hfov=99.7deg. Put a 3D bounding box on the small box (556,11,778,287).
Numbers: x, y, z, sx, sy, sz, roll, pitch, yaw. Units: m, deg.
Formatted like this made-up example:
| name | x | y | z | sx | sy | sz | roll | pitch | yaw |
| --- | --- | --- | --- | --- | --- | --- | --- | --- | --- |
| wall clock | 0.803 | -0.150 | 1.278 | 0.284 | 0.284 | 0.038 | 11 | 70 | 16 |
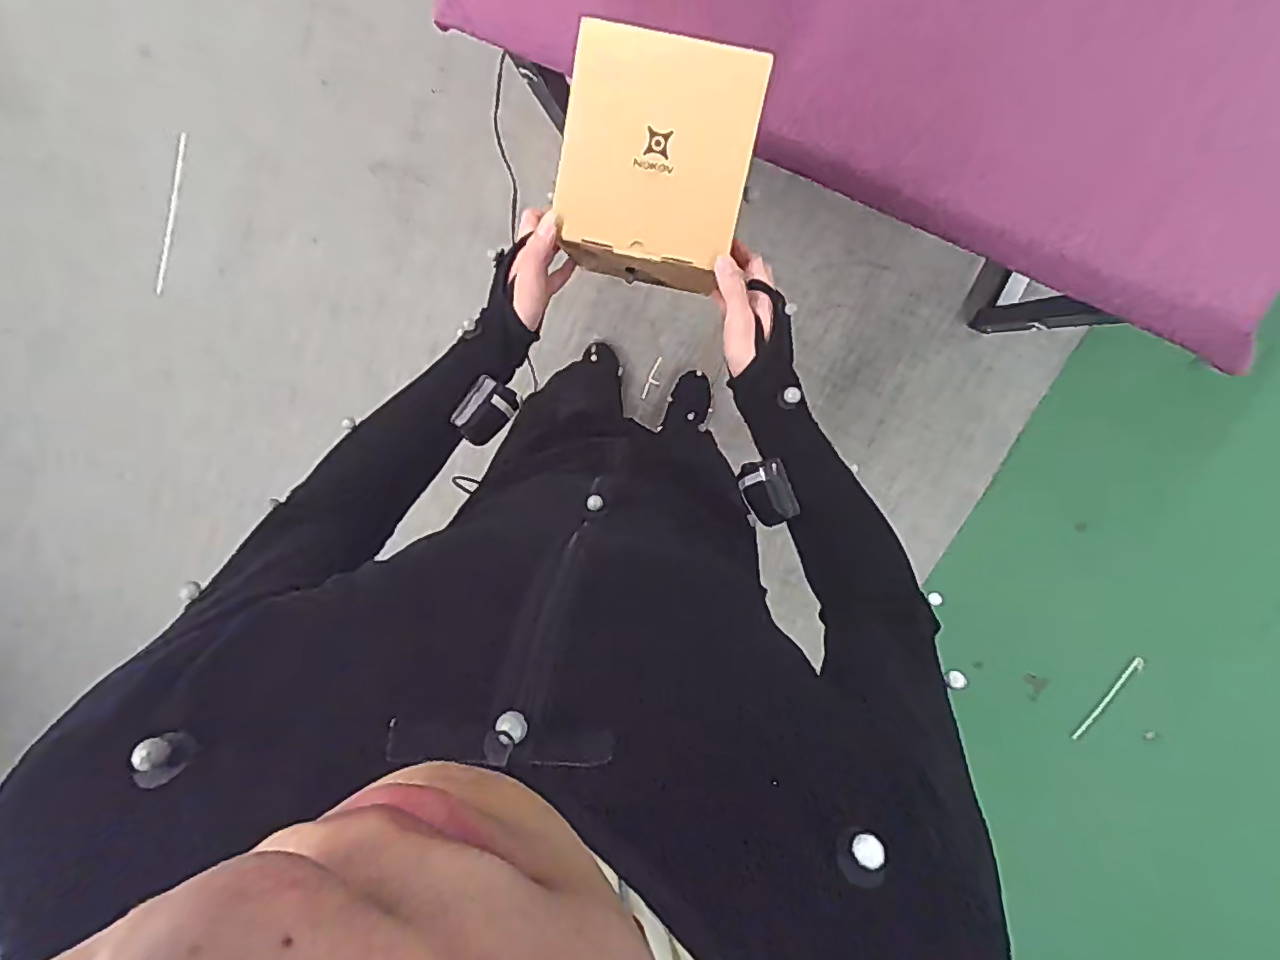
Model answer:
| name | x | y | z | sx | sy | sz | roll | pitch | yaw |
| --- | --- | --- | --- | --- | --- | --- | --- | --- | --- |
| small box | 0.023 | -0.310 | 0.548 | 0.168 | 0.176 | 0.179 | 12 | 103 | 0 |
